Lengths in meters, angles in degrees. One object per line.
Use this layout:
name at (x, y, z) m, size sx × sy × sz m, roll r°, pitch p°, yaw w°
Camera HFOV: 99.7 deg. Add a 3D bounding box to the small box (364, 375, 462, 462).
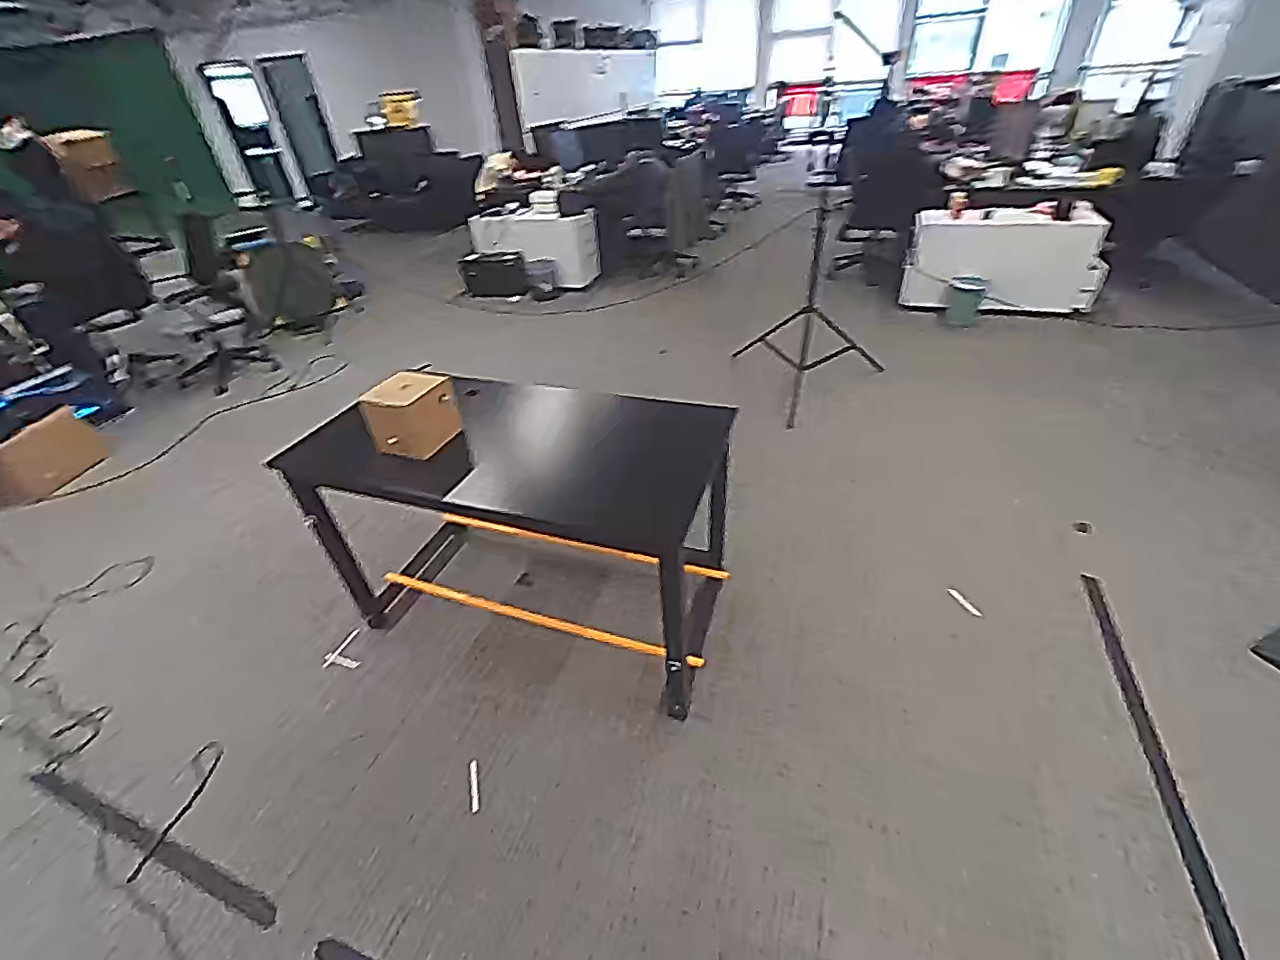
small box at (-0.624, -0.174, 1.516) m, size 0.168 × 0.176 × 0.179 m, roll 10°, pitch 39°, yaw 20°
